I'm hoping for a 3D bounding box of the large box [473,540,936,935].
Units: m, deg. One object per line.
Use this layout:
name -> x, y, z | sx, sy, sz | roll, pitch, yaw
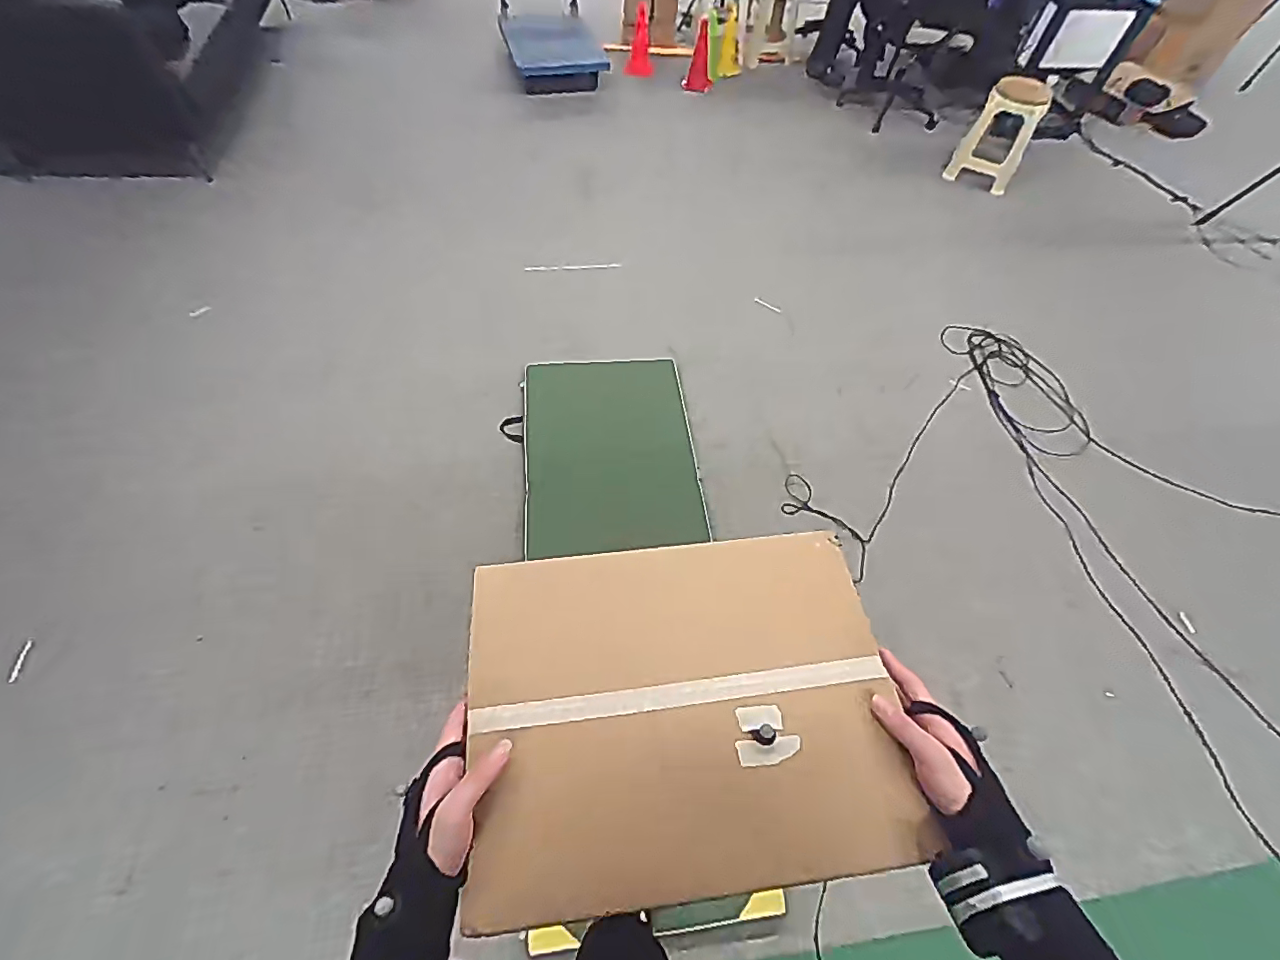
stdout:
large box -> 0.036, 0.299, 0.650 | 0.408, 0.320, 0.320 | -5, 56, -6
